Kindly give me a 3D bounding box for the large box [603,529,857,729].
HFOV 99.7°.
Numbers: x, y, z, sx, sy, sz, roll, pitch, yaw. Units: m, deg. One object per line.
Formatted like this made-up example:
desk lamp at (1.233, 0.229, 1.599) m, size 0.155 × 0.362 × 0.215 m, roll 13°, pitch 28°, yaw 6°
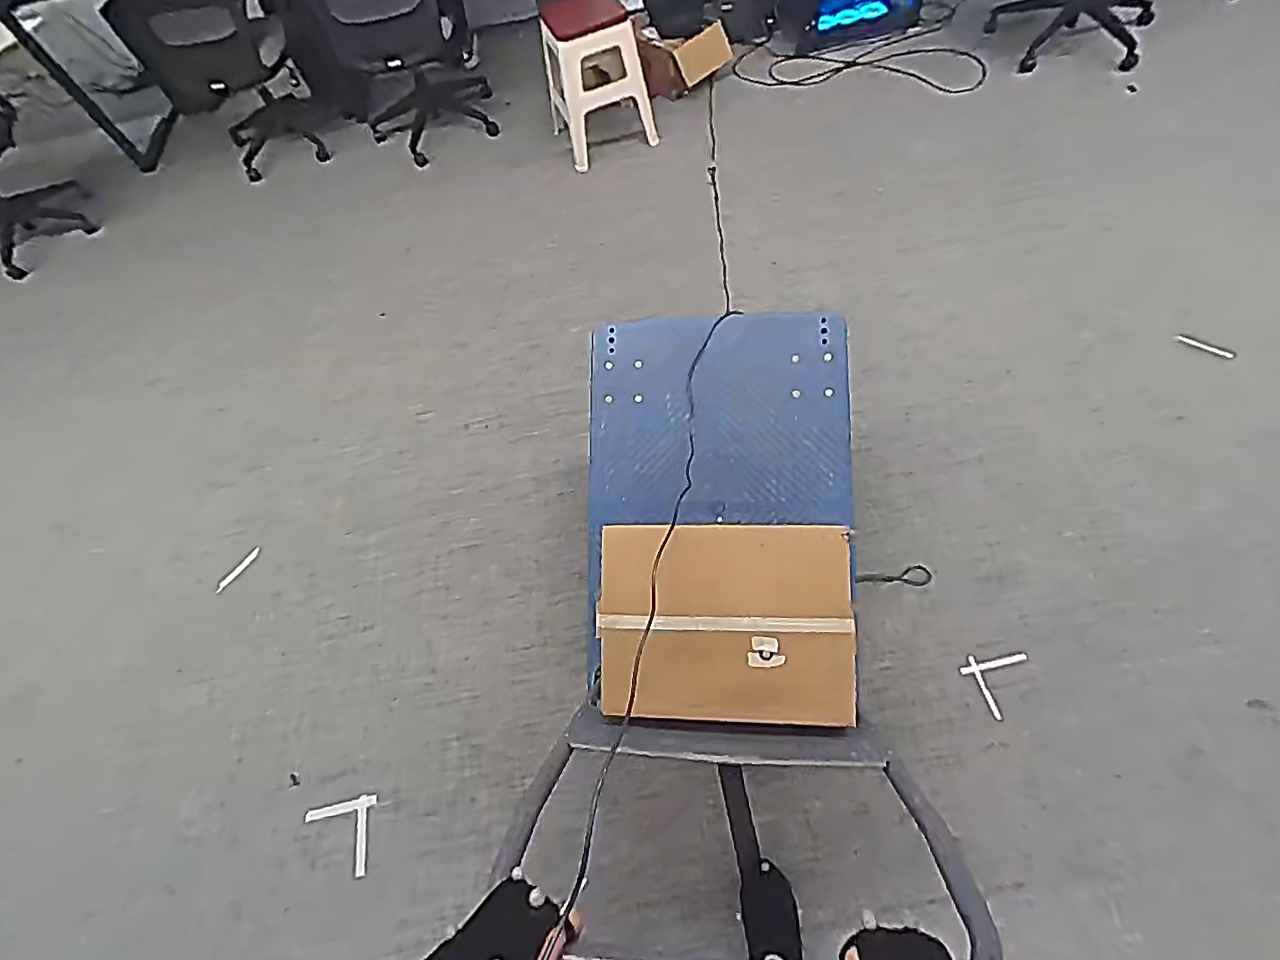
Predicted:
large box at (0.153, 0.252, 1.018) m, size 0.408 × 0.320 × 0.320 m, roll -1°, pitch 85°, yaw 7°
